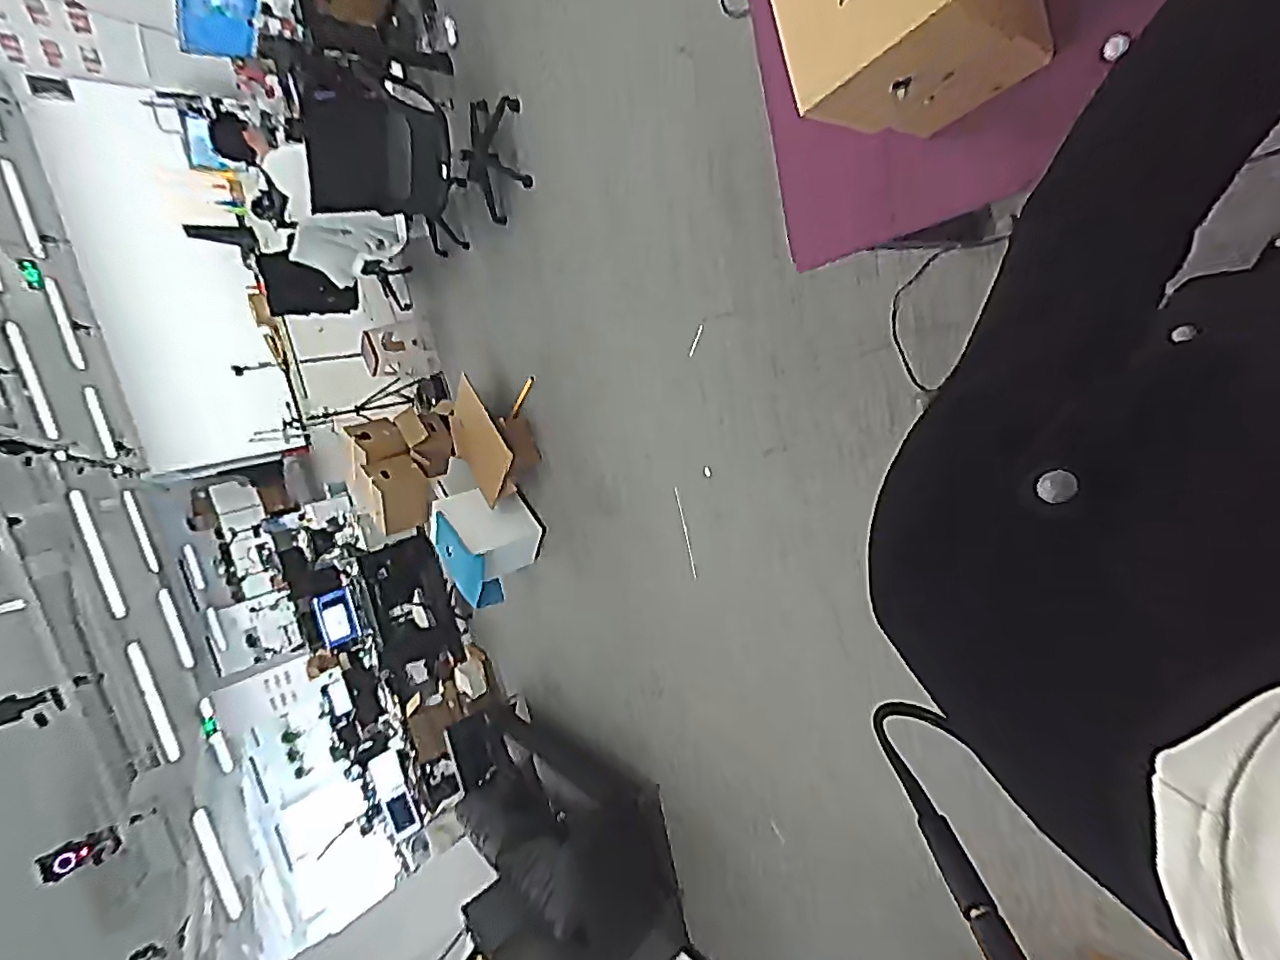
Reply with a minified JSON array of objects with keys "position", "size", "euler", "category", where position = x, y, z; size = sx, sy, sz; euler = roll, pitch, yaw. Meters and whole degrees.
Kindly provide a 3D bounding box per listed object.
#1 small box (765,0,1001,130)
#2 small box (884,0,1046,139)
[{"position":[0.262,-0.513,0.587],"size":[0.168,0.176,0.179],"euler":[-10,97,52],"category":"small box"},{"position":[0.381,-0.572,0.686],"size":[0.168,0.176,0.179],"euler":[-11,95,53],"category":"small box"}]
